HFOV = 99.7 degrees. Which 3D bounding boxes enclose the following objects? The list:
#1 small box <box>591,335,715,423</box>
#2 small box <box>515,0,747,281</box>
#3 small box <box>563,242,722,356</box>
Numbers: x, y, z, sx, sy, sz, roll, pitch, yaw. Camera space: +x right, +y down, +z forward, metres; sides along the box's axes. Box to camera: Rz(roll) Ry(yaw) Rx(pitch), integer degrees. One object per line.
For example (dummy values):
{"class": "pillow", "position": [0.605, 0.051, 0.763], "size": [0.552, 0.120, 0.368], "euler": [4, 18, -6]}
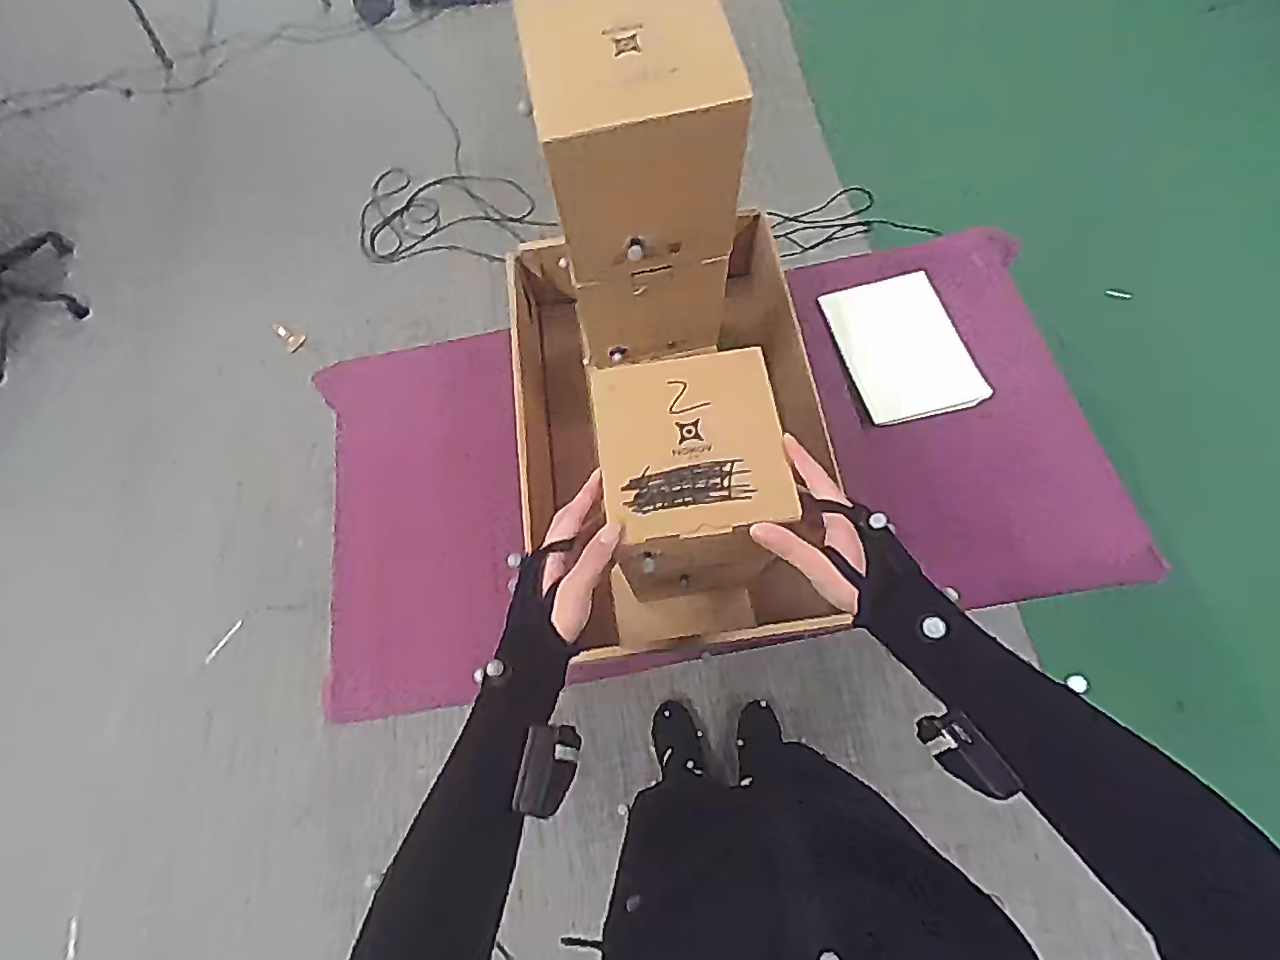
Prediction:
{"class": "small box", "position": [0.009, -0.209, 0.813], "size": [0.168, 0.176, 0.179], "euler": [-11, 72, 0]}
{"class": "small box", "position": [-0.009, -0.321, 0.507], "size": [0.168, 0.176, 0.179], "euler": [-11, 72, 0]}
{"class": "small box", "position": [-0.002, -0.269, 0.661], "size": [0.168, 0.176, 0.179], "euler": [-11, 70, -1]}
